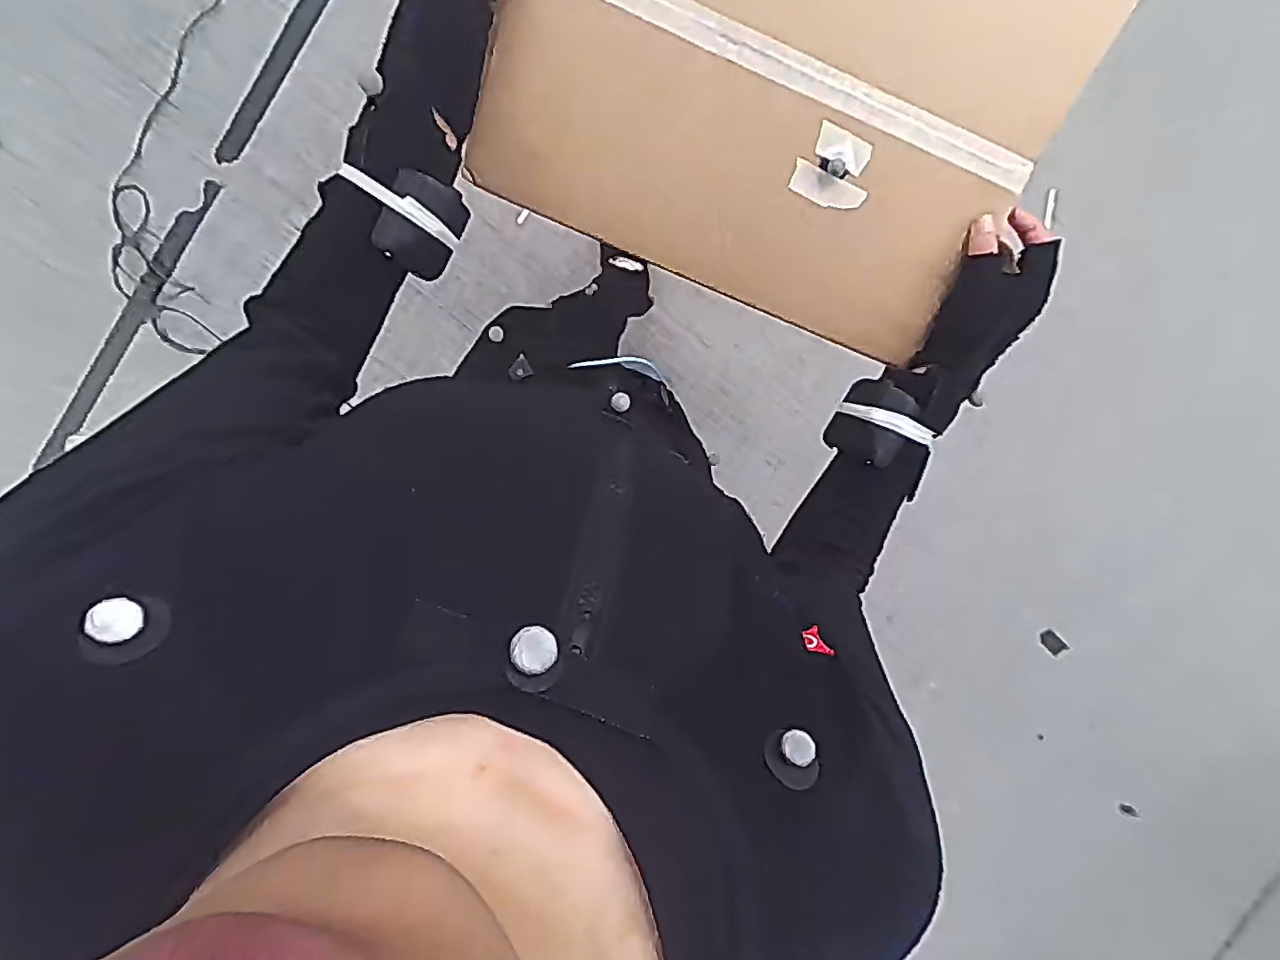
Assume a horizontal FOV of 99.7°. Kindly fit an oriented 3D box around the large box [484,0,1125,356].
[{"bbox_3d":[0.115,-0.367,0.536,0.408,0.320,0.320,21,115,-7],"label":"large box"}]
